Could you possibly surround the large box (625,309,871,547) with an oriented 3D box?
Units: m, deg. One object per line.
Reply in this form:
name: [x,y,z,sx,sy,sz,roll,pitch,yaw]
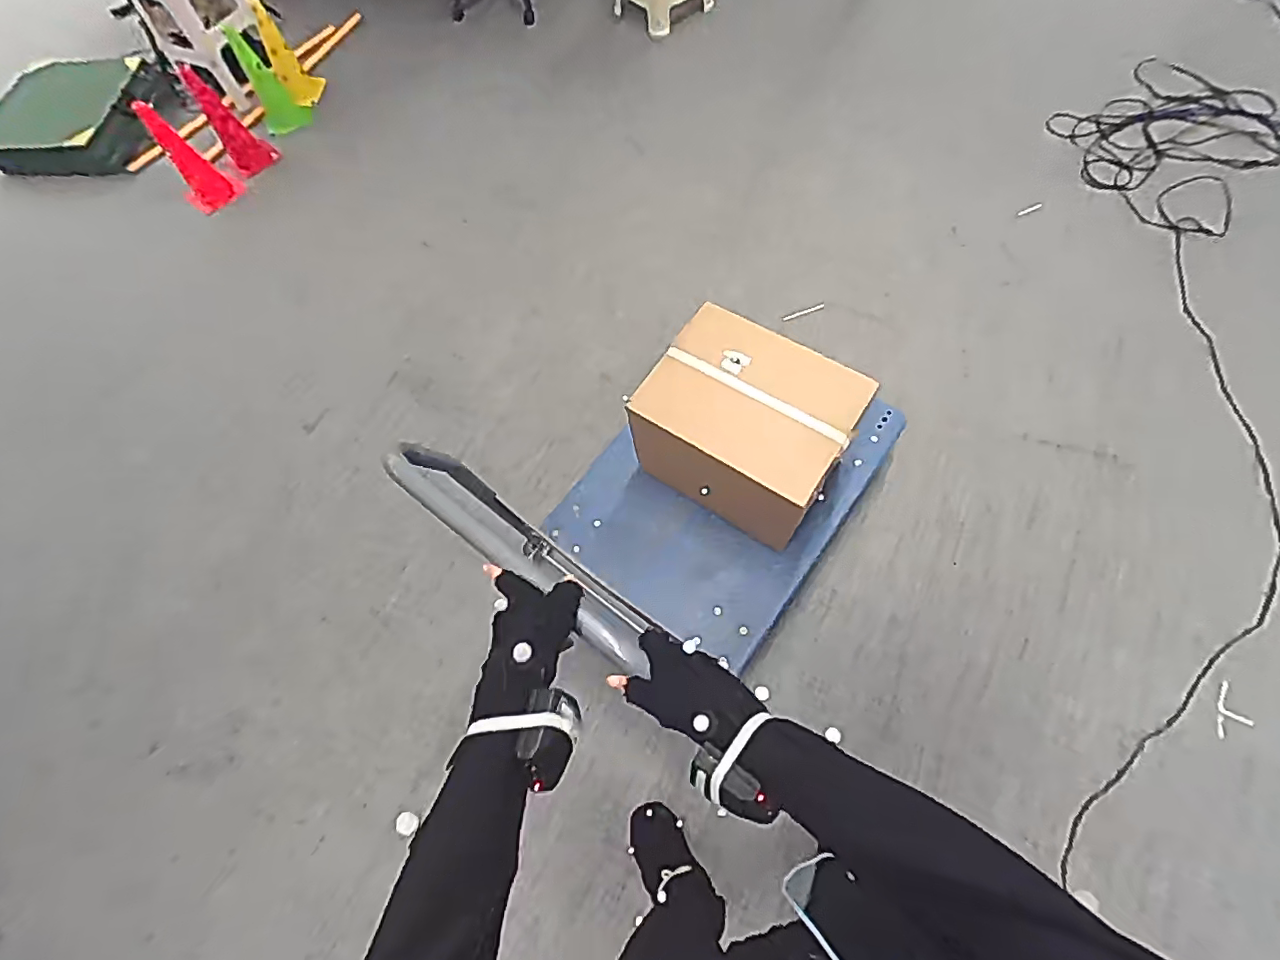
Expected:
large box: [0.233,-0.106,1.222,0.408,0.320,0.320,31,73,19]
